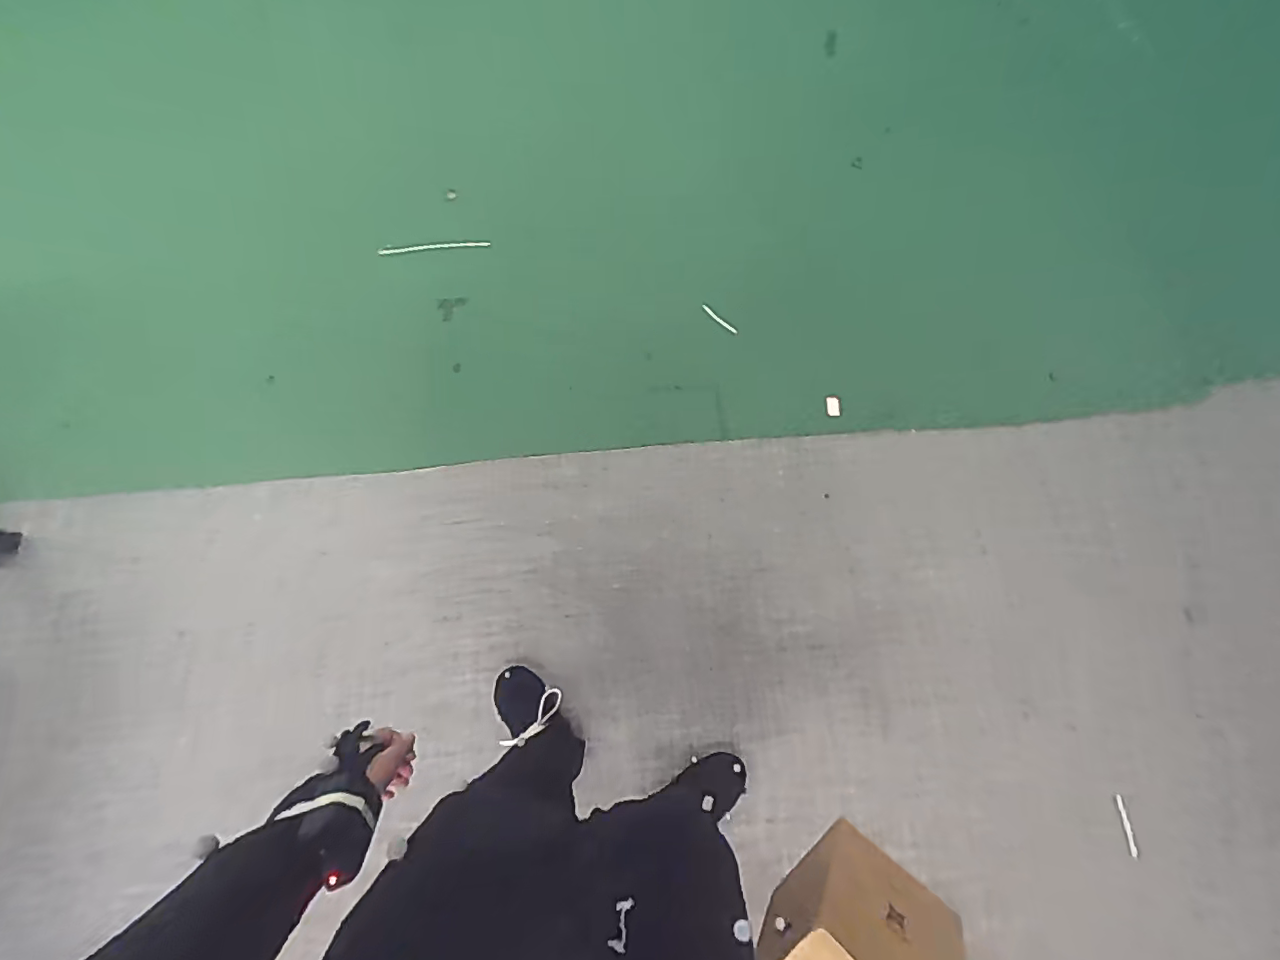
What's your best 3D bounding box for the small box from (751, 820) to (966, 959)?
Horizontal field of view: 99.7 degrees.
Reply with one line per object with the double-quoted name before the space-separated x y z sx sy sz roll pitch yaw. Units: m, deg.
"small box" 0.239 0.550 0.609 0.168 0.179 0.176 35 108 20
